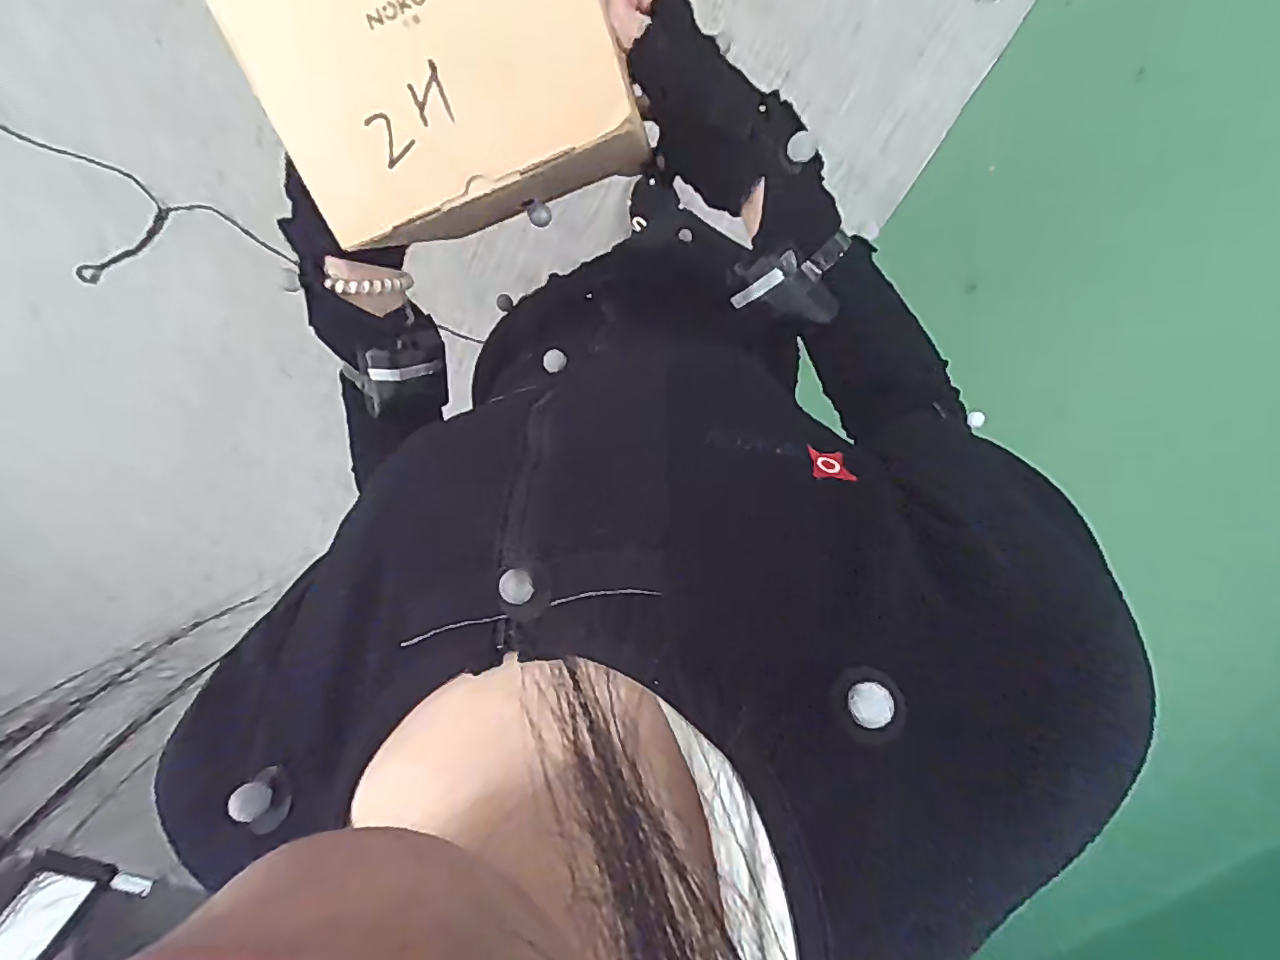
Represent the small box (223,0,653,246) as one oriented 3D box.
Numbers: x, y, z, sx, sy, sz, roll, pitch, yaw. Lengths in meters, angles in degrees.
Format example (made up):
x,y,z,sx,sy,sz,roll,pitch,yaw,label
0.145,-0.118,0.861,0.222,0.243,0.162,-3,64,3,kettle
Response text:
x,y,z,sx,sy,sz,roll,pitch,yaw,label
-0.097,-0.250,0.309,0.168,0.176,0.179,-16,113,12,small box
